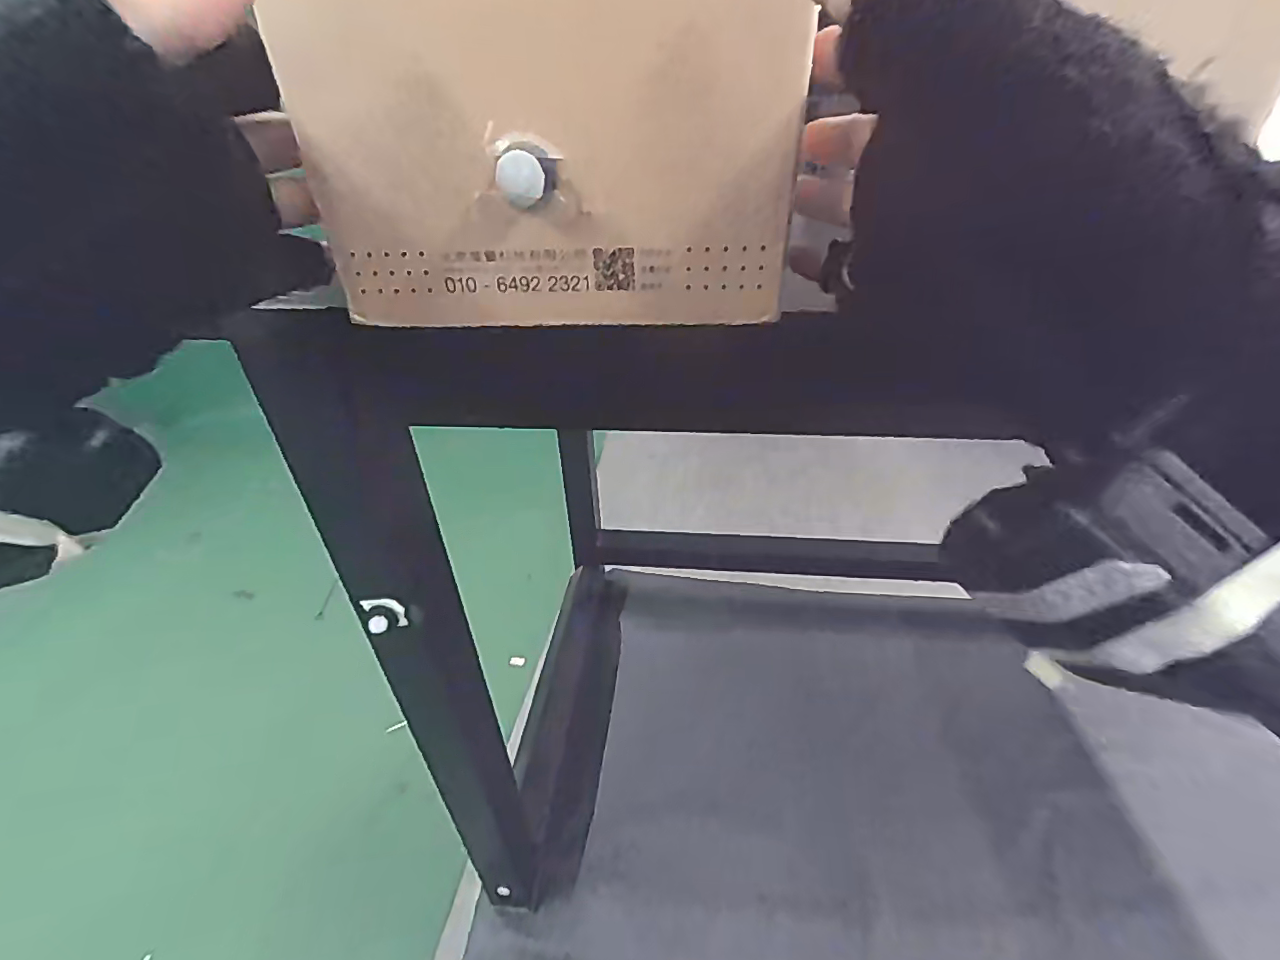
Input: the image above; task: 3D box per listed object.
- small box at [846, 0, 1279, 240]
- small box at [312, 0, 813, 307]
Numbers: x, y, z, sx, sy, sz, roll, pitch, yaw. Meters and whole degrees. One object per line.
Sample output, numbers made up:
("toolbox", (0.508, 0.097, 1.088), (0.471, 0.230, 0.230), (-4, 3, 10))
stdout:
("small box", (0.226, -0.246, 0.323), (0.168, 0.176, 0.179), (7, 34, 13))
("small box", (-0.024, -0.184, 0.238), (0.168, 0.176, 0.179), (0, 33, 3))
